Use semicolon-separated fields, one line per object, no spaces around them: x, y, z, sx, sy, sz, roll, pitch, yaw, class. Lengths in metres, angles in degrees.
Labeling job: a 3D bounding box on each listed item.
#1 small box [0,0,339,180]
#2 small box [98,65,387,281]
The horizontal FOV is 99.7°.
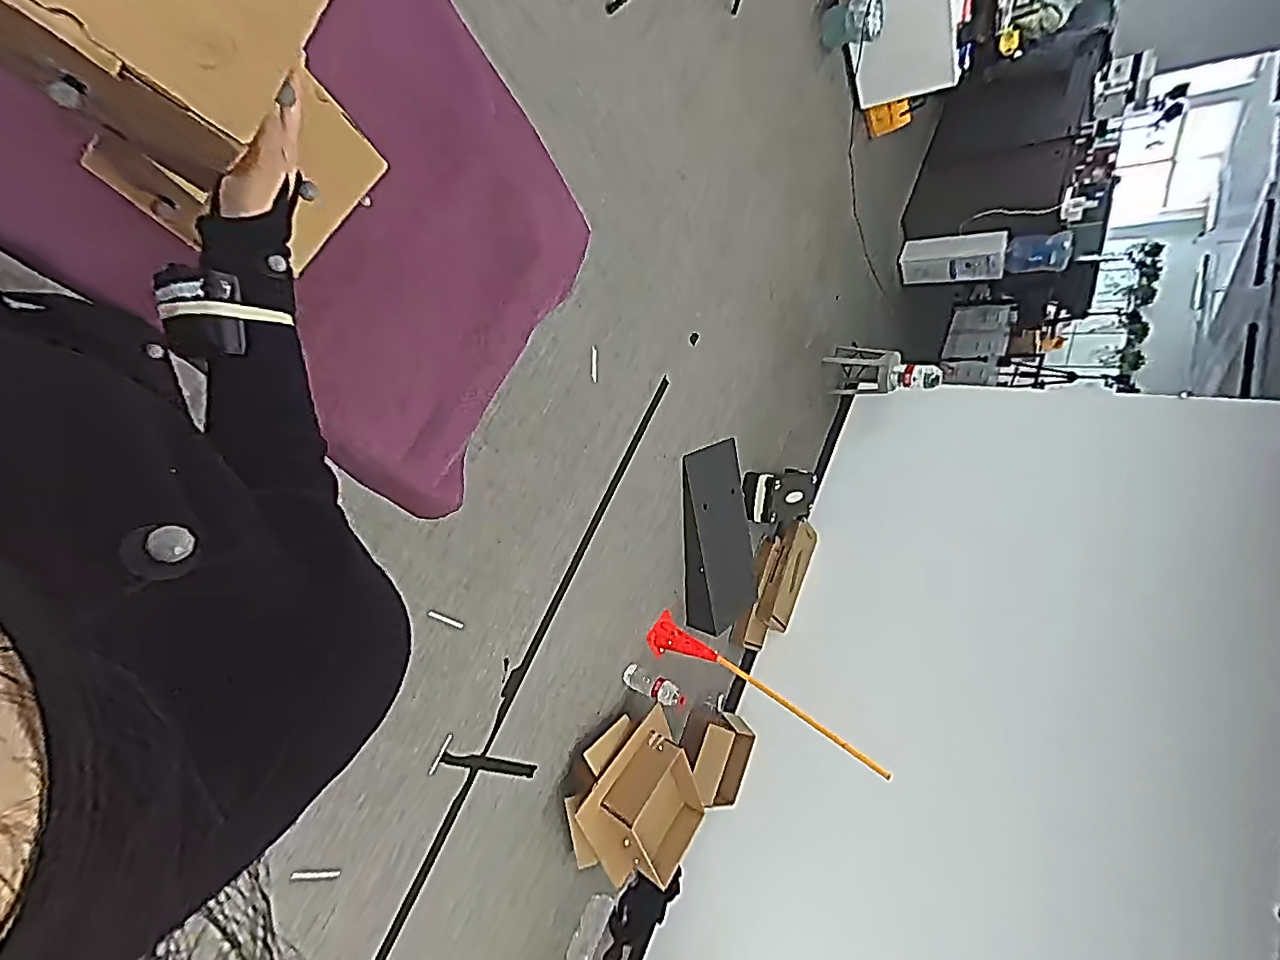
-0.313;-0.327;0.345;0.168;0.176;0.179;29;82;-46;small box
-0.418;-0.334;0.573;0.168;0.176;0.179;45;64;-46;small box
